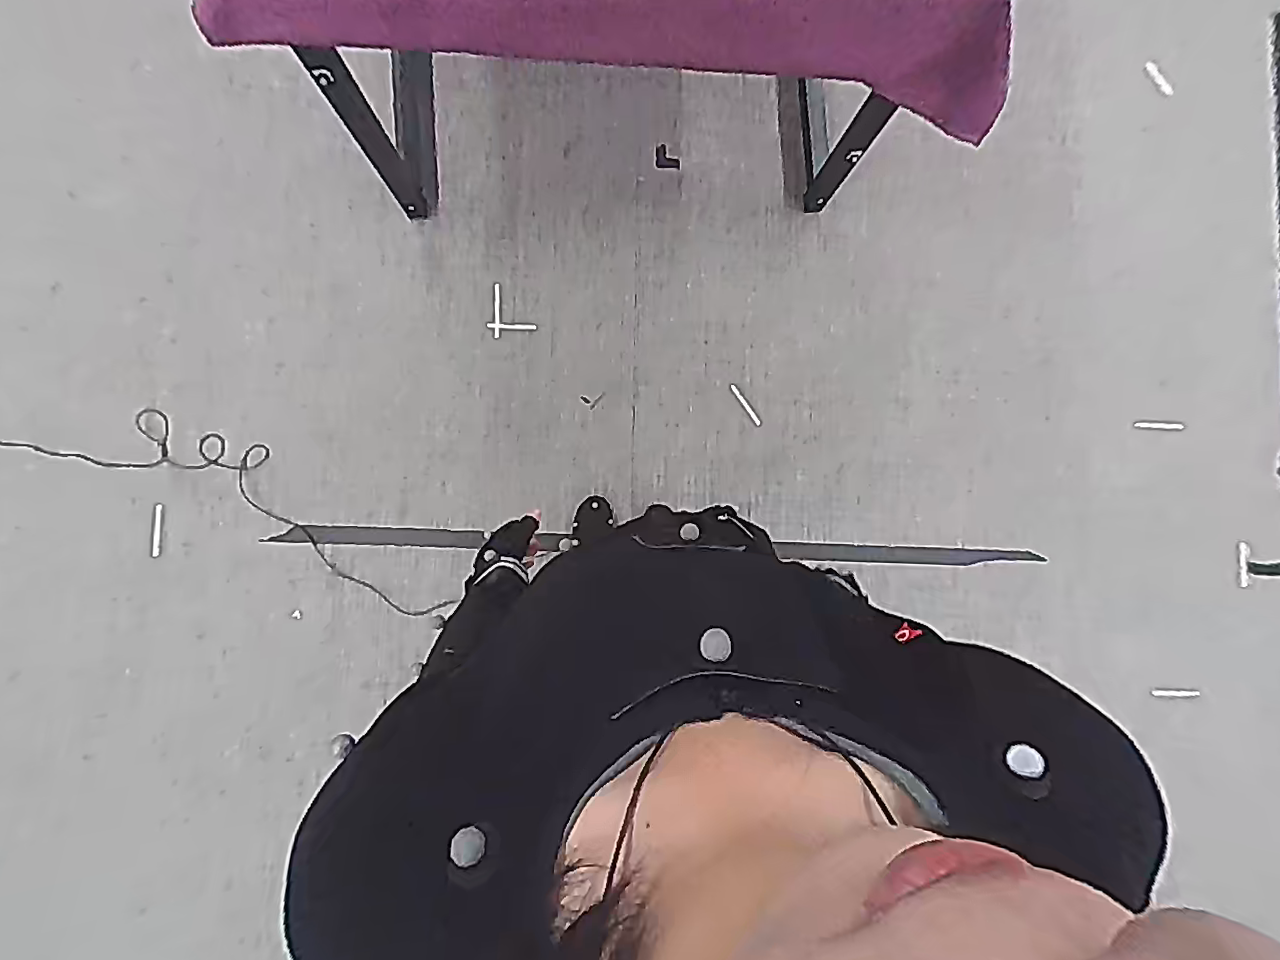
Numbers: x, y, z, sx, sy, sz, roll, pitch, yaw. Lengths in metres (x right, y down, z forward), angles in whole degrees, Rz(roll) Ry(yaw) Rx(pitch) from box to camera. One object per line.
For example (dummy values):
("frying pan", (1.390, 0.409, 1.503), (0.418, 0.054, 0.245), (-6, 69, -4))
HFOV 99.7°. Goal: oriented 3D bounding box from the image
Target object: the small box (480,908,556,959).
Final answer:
("small box", (-0.301, 1.201, 1.335), (0.179, 0.176, 0.168), (2, 86, -5))
